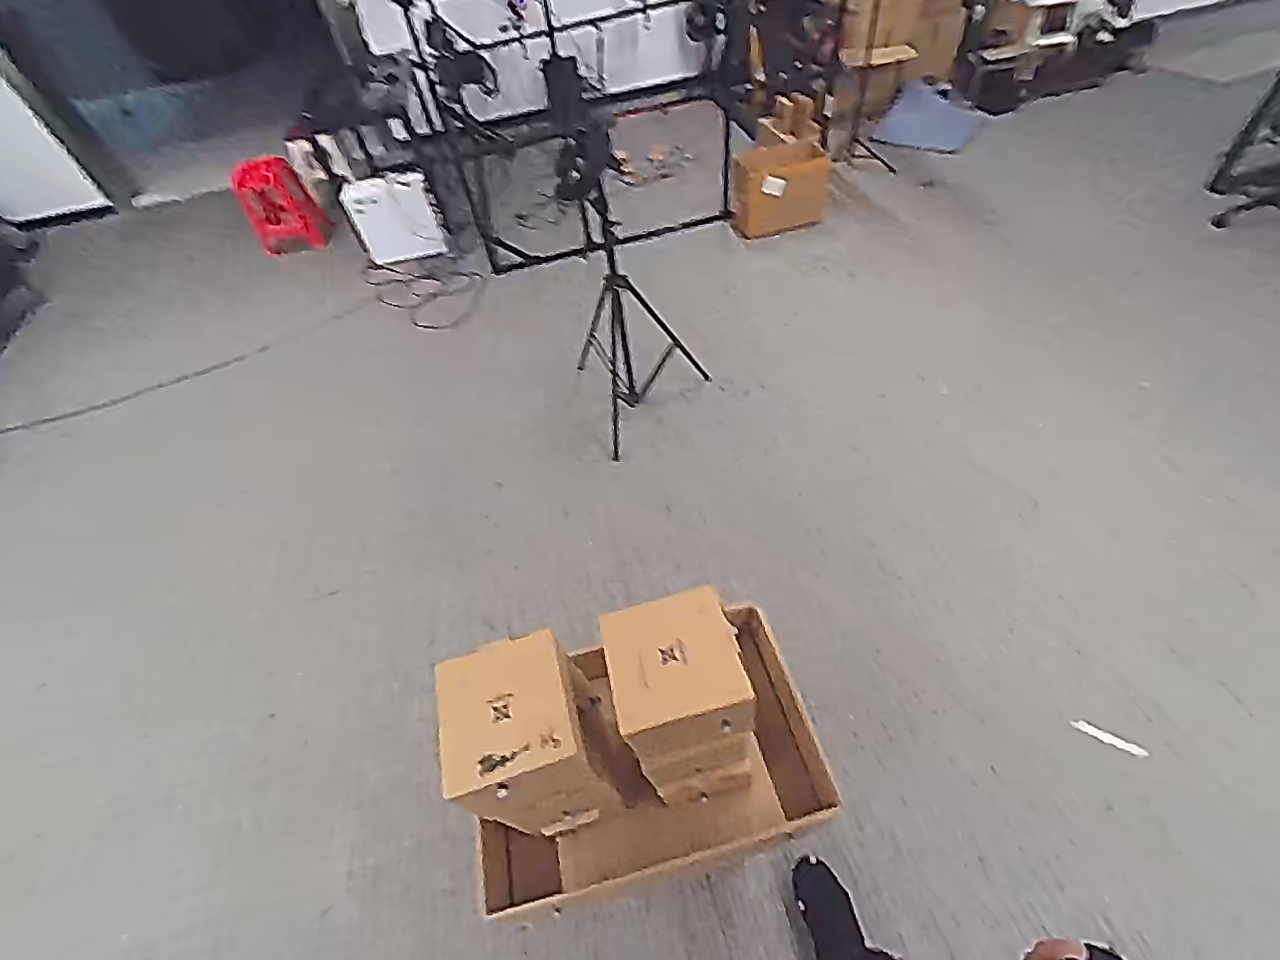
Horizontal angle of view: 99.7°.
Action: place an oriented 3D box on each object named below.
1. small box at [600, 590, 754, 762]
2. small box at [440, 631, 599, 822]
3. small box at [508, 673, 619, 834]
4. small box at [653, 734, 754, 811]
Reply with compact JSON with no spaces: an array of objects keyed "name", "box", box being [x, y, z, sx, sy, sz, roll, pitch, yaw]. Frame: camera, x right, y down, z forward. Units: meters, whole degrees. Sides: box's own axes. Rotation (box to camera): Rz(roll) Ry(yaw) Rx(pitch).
[{"name":"small box","box":[0.055,0.285,0.778,0.179,0.176,0.168,-16,51,0]},{"name":"small box","box":[-0.167,0.347,0.758,0.168,0.176,0.179,-18,50,-4]},{"name":"small box","box":[-0.141,0.450,0.886,0.168,0.176,0.179,-17,51,-5]},{"name":"small box","box":[0.108,0.499,1.021,0.168,0.176,0.179,-15,51,0]}]
